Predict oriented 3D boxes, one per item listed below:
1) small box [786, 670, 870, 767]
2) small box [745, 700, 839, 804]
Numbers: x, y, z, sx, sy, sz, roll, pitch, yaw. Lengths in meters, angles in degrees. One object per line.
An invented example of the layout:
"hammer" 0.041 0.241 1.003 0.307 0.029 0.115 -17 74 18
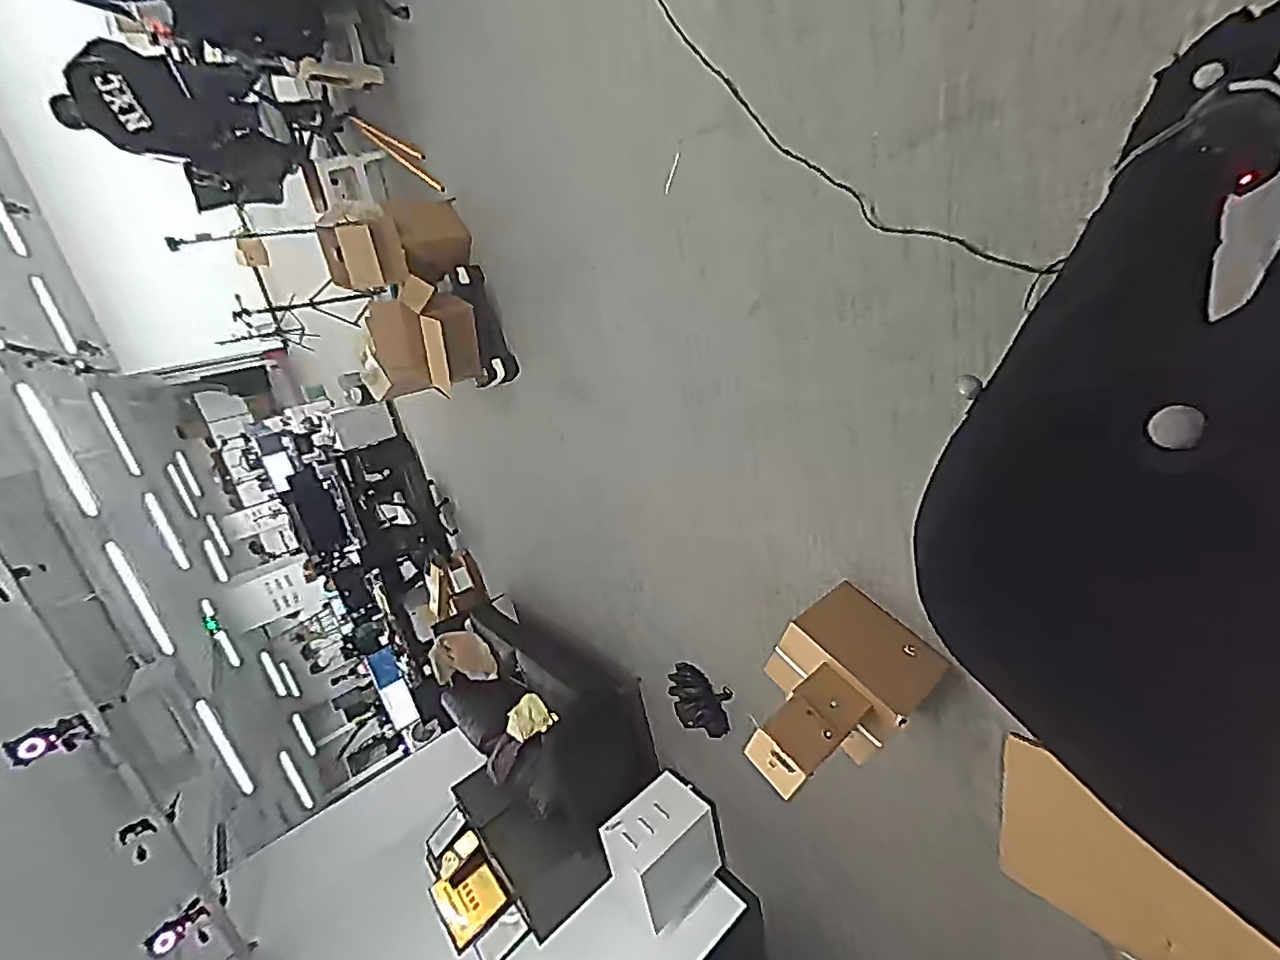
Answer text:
"small box" 0.555 0.707 1.621 0.179 0.176 0.168 39 139 37
"small box" 0.431 0.757 1.520 0.168 0.176 0.179 43 141 32
